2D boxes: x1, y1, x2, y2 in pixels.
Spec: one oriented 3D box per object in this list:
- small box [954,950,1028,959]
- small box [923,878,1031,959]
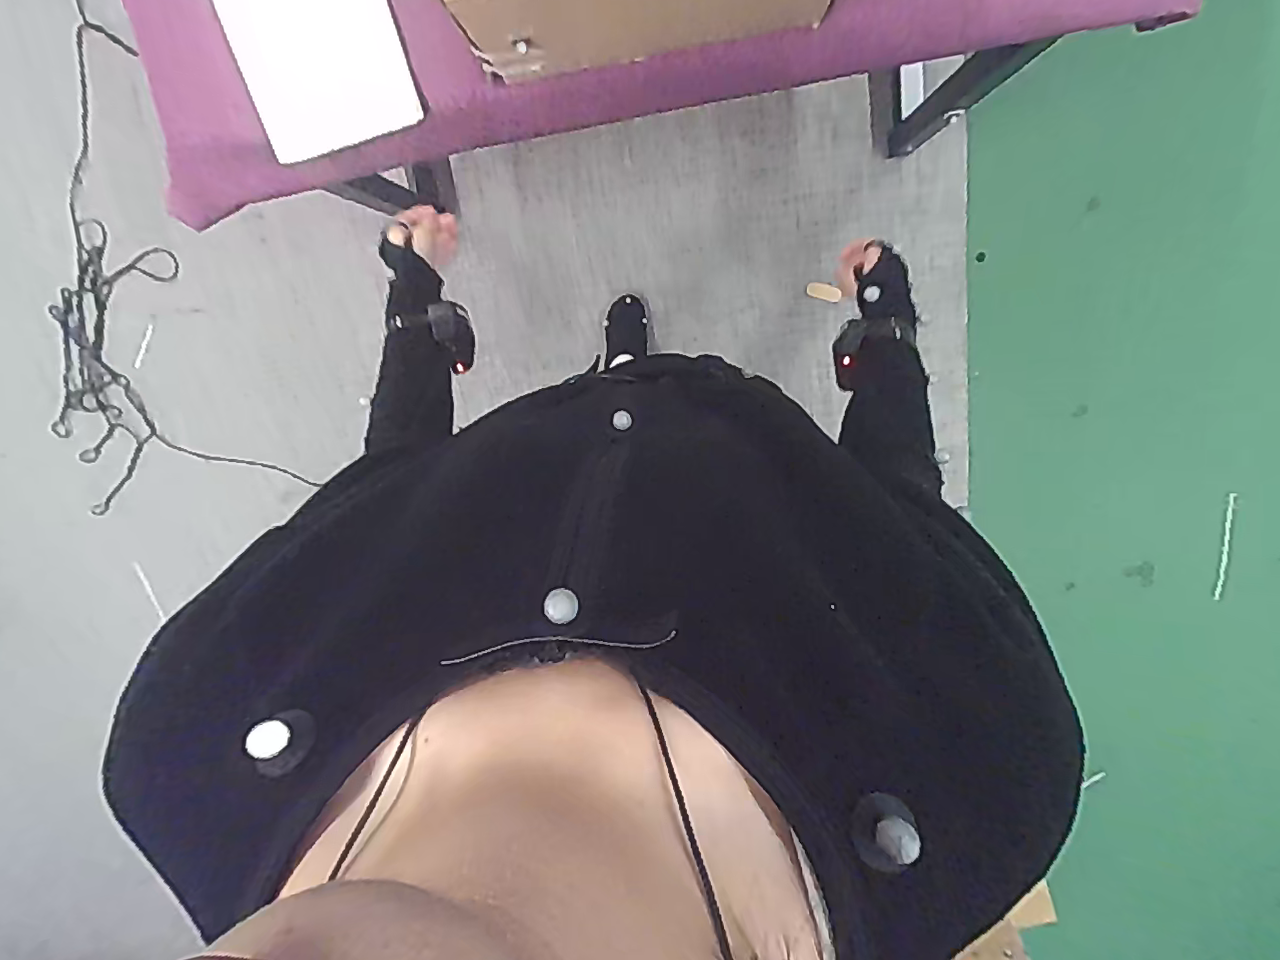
[{"bbox_3d":[0.834,1.203,1.213,0.168,0.176,0.179,-17,102,9],"label":"small box"},{"bbox_3d":[0.854,1.154,1.368,0.179,0.176,0.168,-18,102,9],"label":"small box"}]
